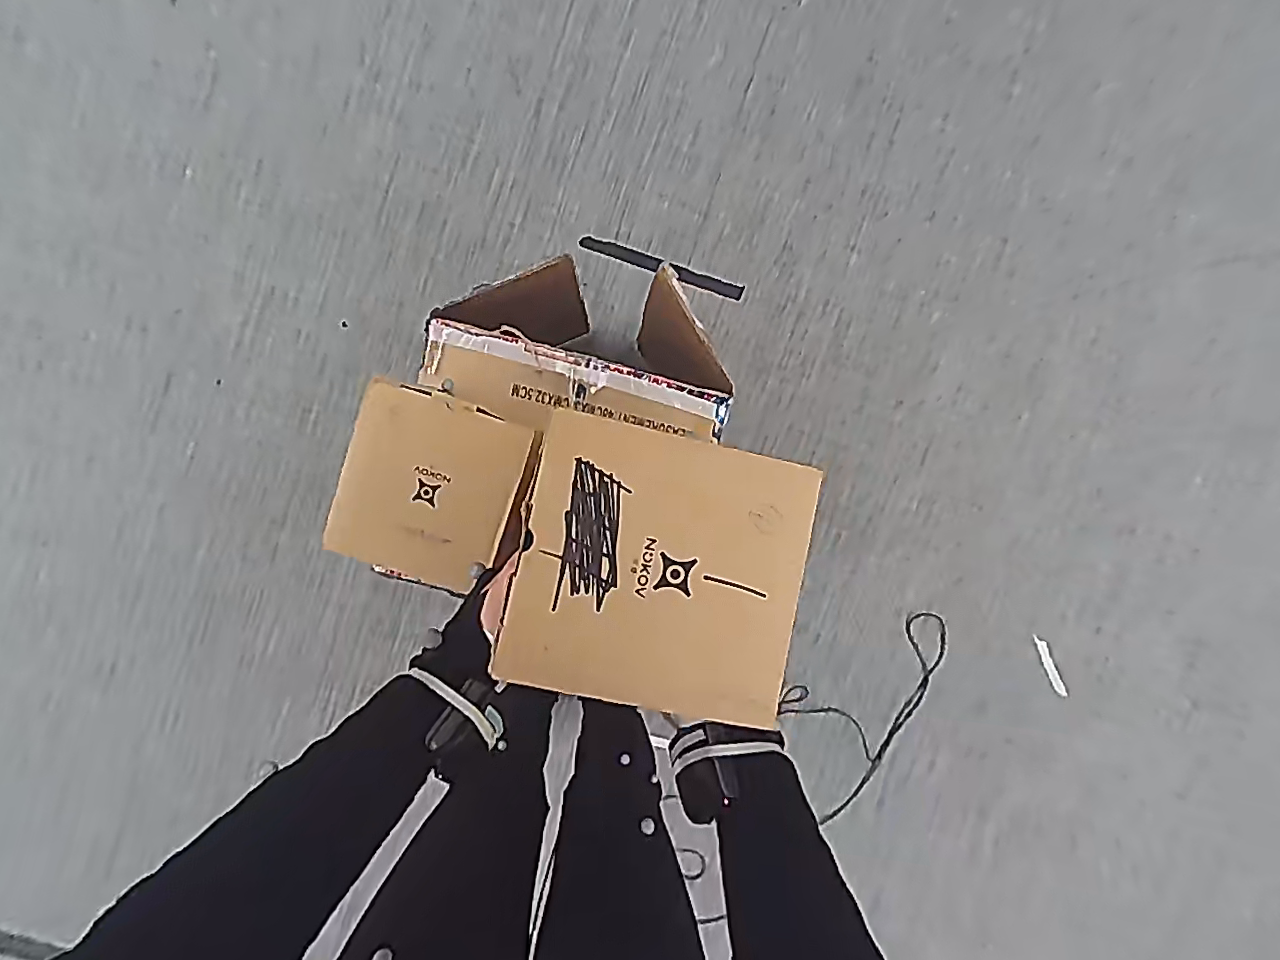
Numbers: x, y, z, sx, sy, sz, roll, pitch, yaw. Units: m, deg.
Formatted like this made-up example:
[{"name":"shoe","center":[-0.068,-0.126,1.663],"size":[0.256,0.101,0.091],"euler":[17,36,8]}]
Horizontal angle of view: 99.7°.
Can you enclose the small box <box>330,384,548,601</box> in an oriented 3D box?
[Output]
[{"name":"small box","center":[-0.201,0.006,0.603],"size":[0.168,0.176,0.179],"euler":[18,96,-1]}]

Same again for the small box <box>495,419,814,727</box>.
[{"name":"small box","center":[0.006,0.063,0.418],"size":[0.179,0.176,0.168],"euler":[12,86,-5]}]
